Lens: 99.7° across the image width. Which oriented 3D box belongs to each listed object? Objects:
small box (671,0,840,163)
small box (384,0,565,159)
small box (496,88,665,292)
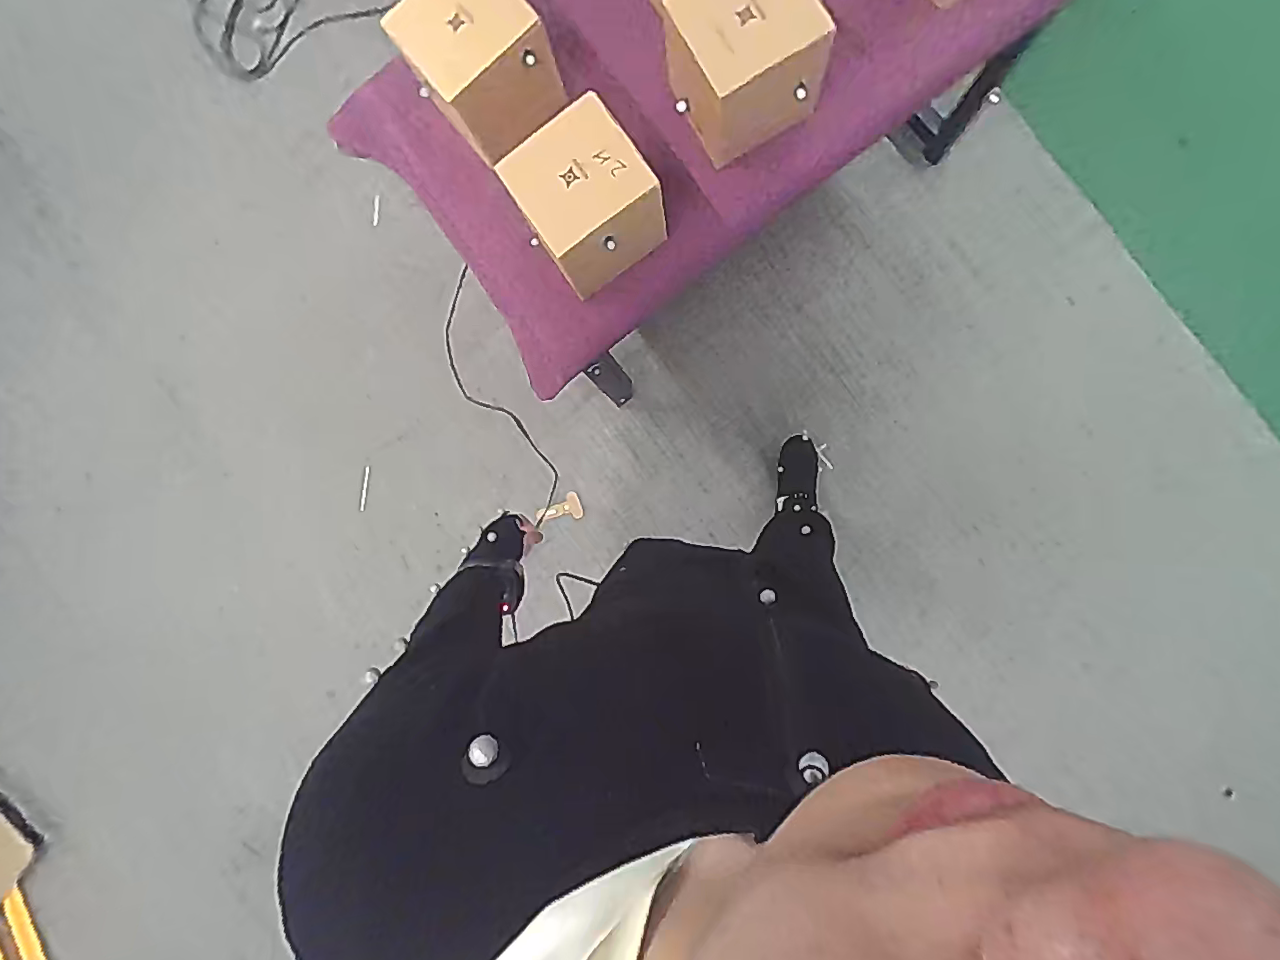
[{"bbox_3d":[0.158,-0.618,0.792,0.179,0.176,0.168,-27,86,6],"label":"small box"},{"bbox_3d":[-0.240,-0.648,0.833,0.179,0.176,0.168,-39,86,4],"label":"small box"},{"bbox_3d":[-0.077,-0.416,0.812,0.179,0.176,0.168,-34,86,4],"label":"small box"}]
